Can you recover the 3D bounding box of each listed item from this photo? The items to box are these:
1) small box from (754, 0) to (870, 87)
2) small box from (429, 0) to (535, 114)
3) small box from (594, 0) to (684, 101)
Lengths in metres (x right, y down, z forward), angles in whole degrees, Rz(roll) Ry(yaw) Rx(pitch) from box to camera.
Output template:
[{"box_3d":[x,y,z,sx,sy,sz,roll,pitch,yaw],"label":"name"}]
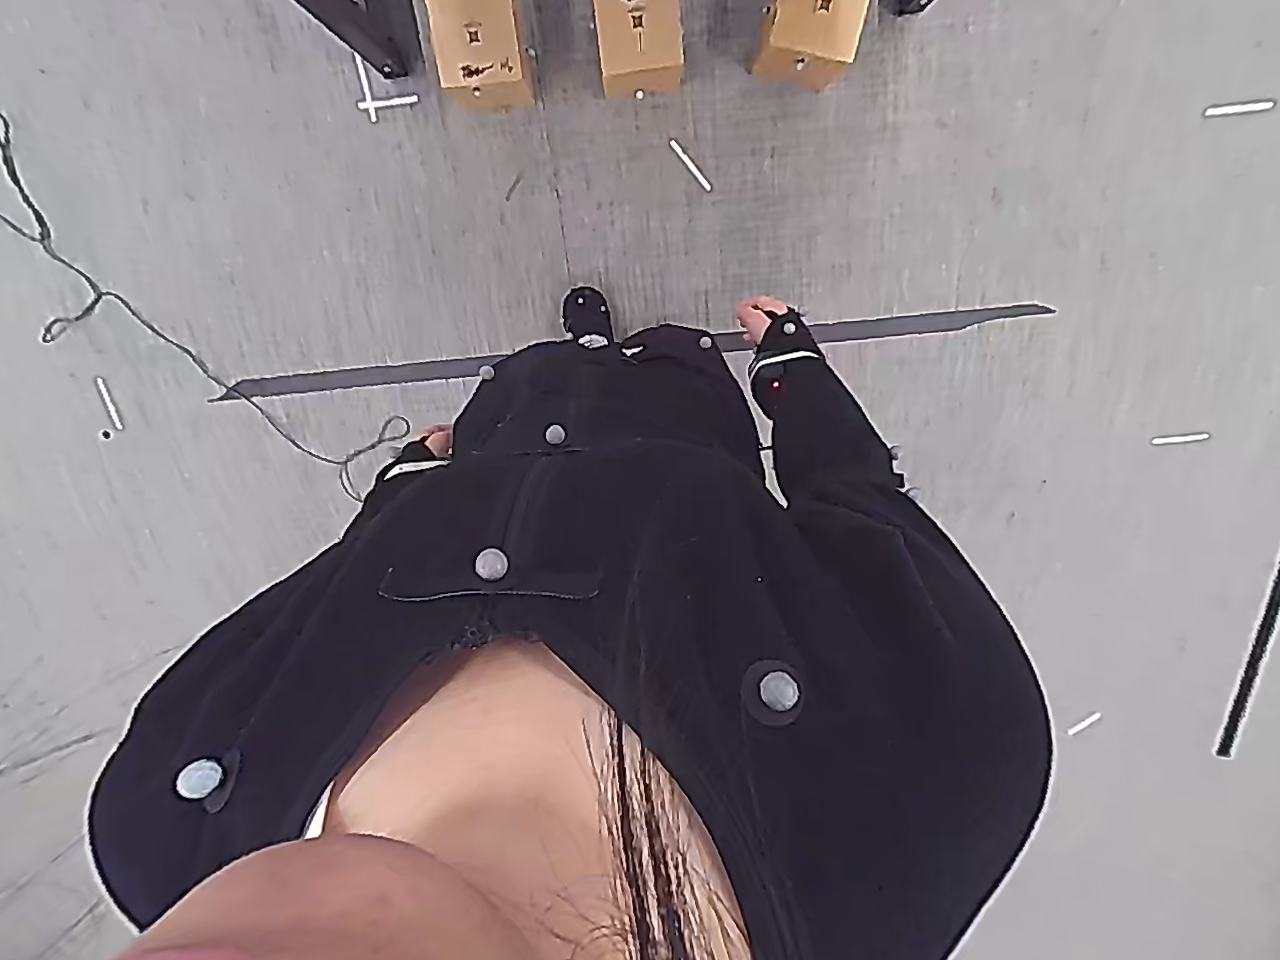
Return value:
[{"box_3d":[0.352,-0.942,1.114,0.179,0.176,0.168,10,110,-3],"label":"small box"},{"box_3d":[-0.320,-0.892,1.120,0.168,0.176,0.179,-4,108,1],"label":"small box"},{"box_3d":[-0.004,-0.919,1.115,0.168,0.176,0.179,-7,110,2],"label":"small box"}]
